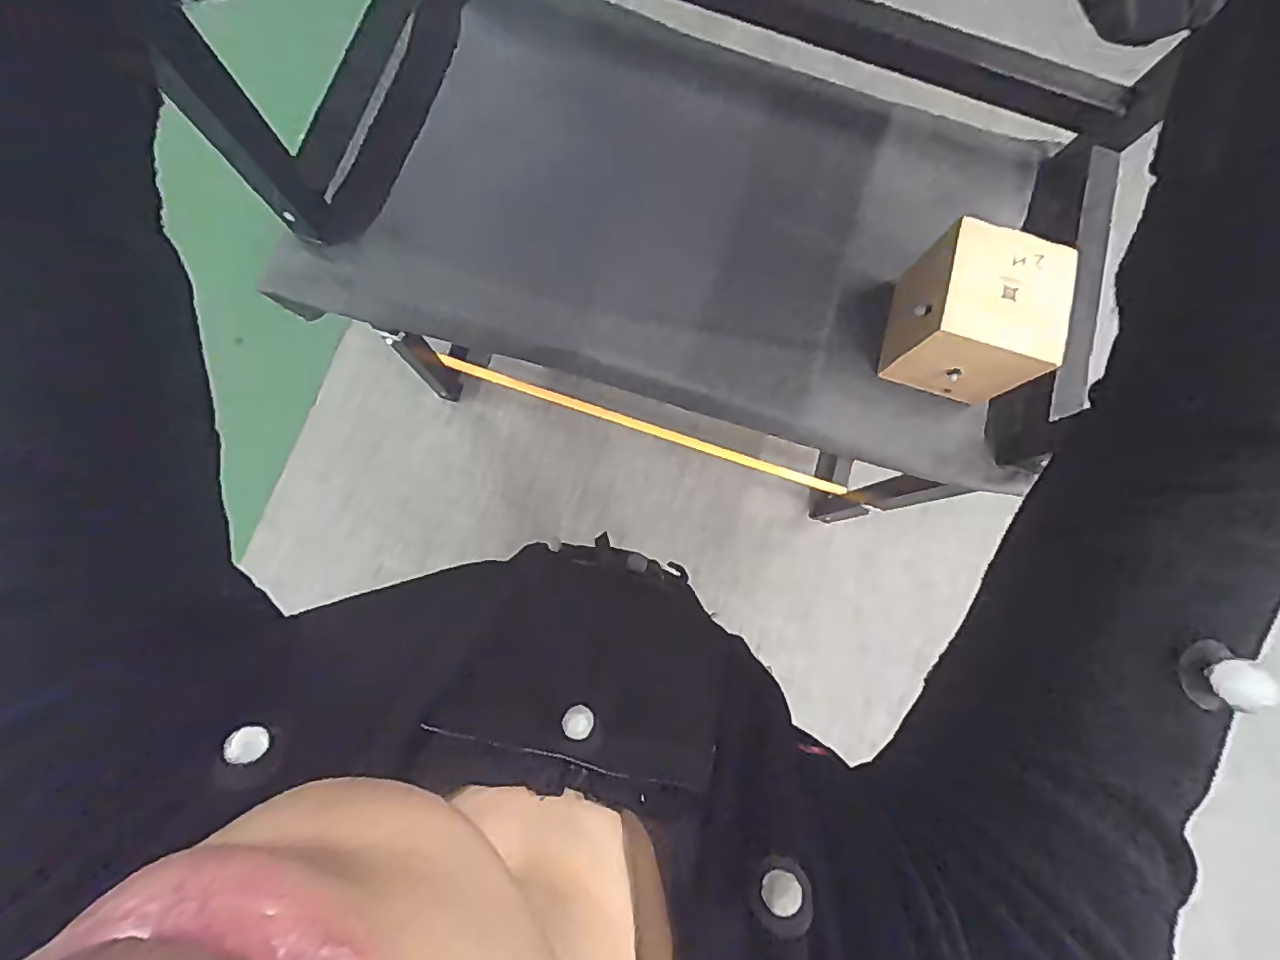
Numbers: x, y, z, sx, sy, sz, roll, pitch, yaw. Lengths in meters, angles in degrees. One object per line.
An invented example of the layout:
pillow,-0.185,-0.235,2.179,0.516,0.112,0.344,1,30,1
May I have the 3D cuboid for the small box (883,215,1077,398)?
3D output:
small box,0.481,-0.239,0.790,0.168,0.176,0.179,16,79,-1
